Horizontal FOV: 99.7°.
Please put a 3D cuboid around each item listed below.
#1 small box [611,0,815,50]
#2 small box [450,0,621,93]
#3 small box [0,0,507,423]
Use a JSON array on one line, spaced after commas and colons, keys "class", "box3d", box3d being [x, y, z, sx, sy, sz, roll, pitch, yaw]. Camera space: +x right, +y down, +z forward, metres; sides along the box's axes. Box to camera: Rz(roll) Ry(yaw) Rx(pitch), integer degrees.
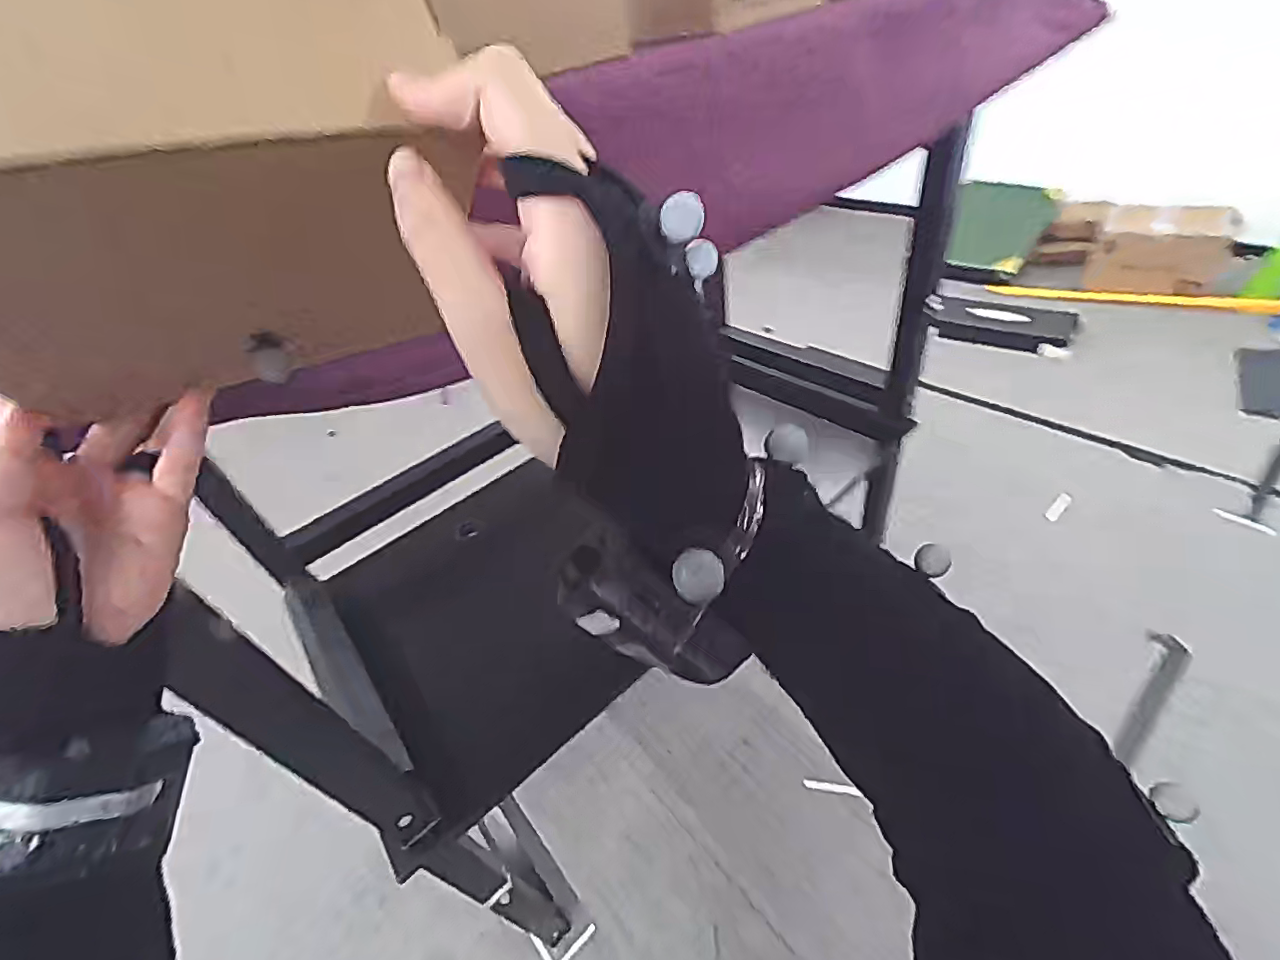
[{"class": "small box", "box3d": [0.064, -0.552, 0.536, 0.168, 0.176, 0.179, -34, 45, -24]}, {"class": "small box", "box3d": [-0.137, -0.424, 0.438, 0.179, 0.176, 0.168, -32, 45, -22]}, {"class": "small box", "box3d": [-0.178, -0.137, 0.200, 0.179, 0.168, 0.176, -25, 4, -28]}]
